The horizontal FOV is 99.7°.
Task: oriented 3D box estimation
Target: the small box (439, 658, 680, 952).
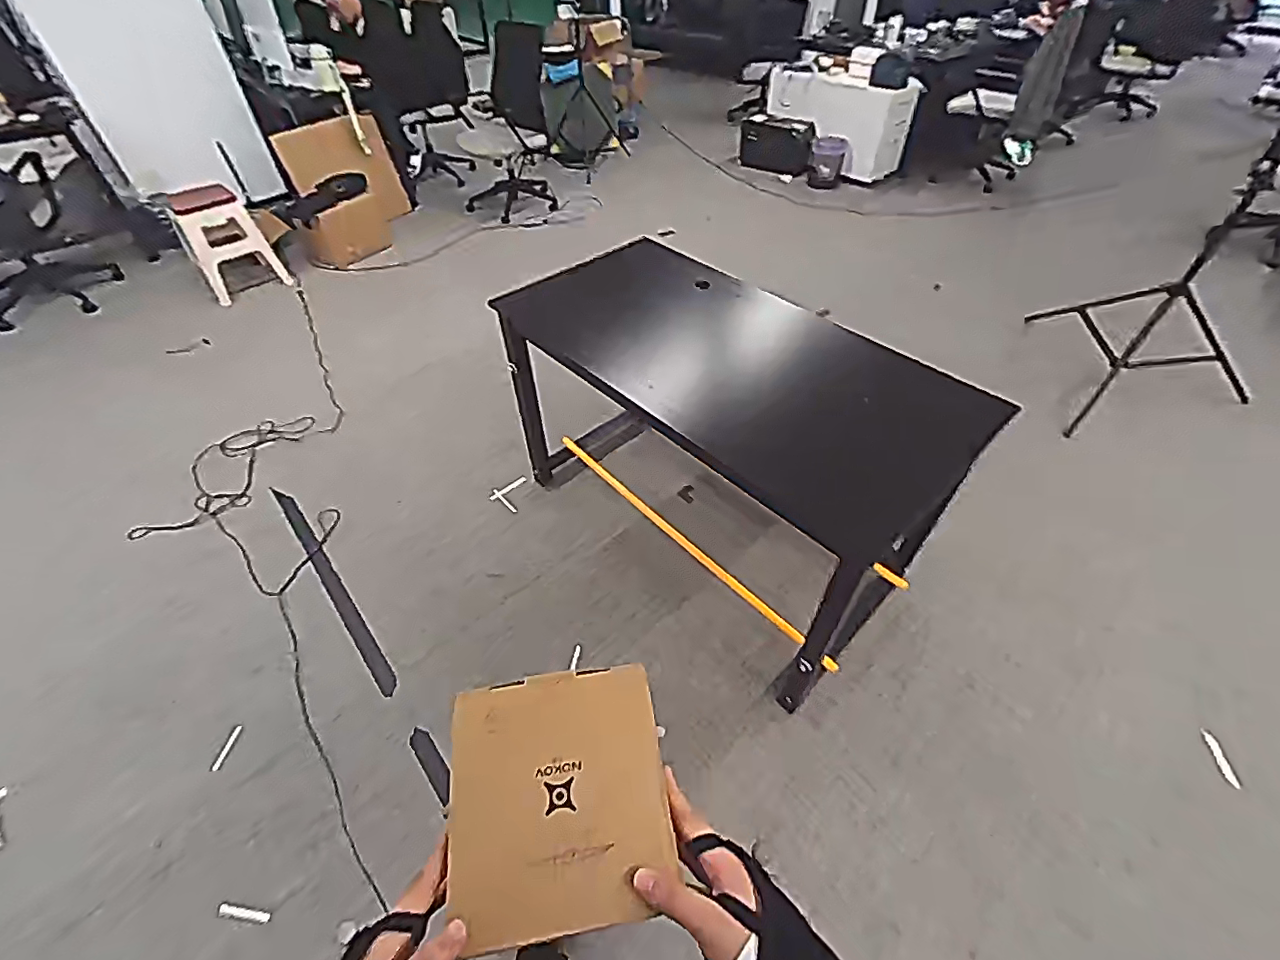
[{"bbox_3d":[-0.068,0.280,0.476,0.168,0.176,0.179,-7,55,-7],"label":"small box"}]
